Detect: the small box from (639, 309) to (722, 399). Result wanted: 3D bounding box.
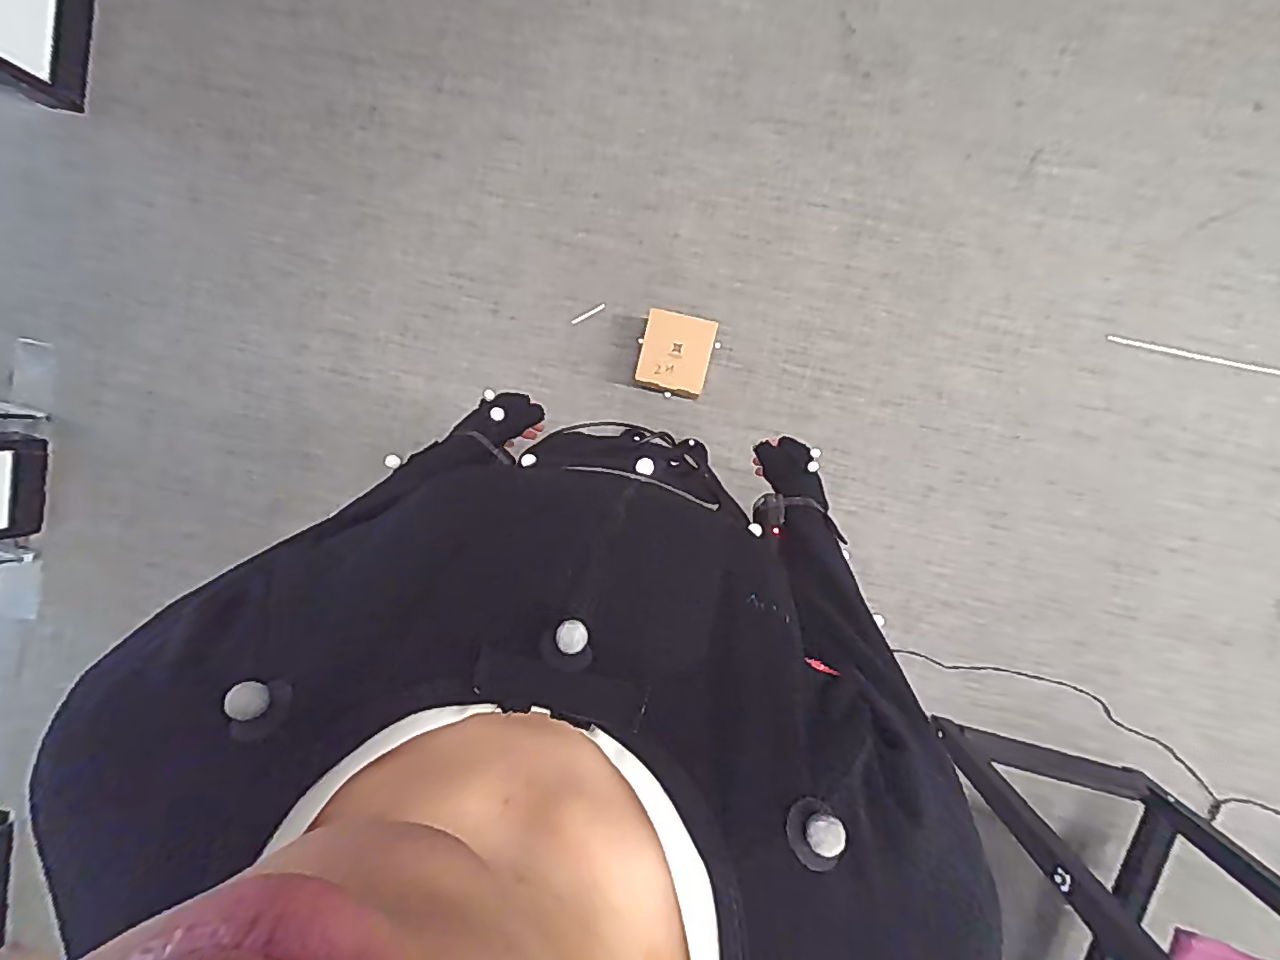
[{"bbox_3d":[0.100,-0.308,1.352,0.168,0.176,0.179,13,97,3],"label":"small box"}]
